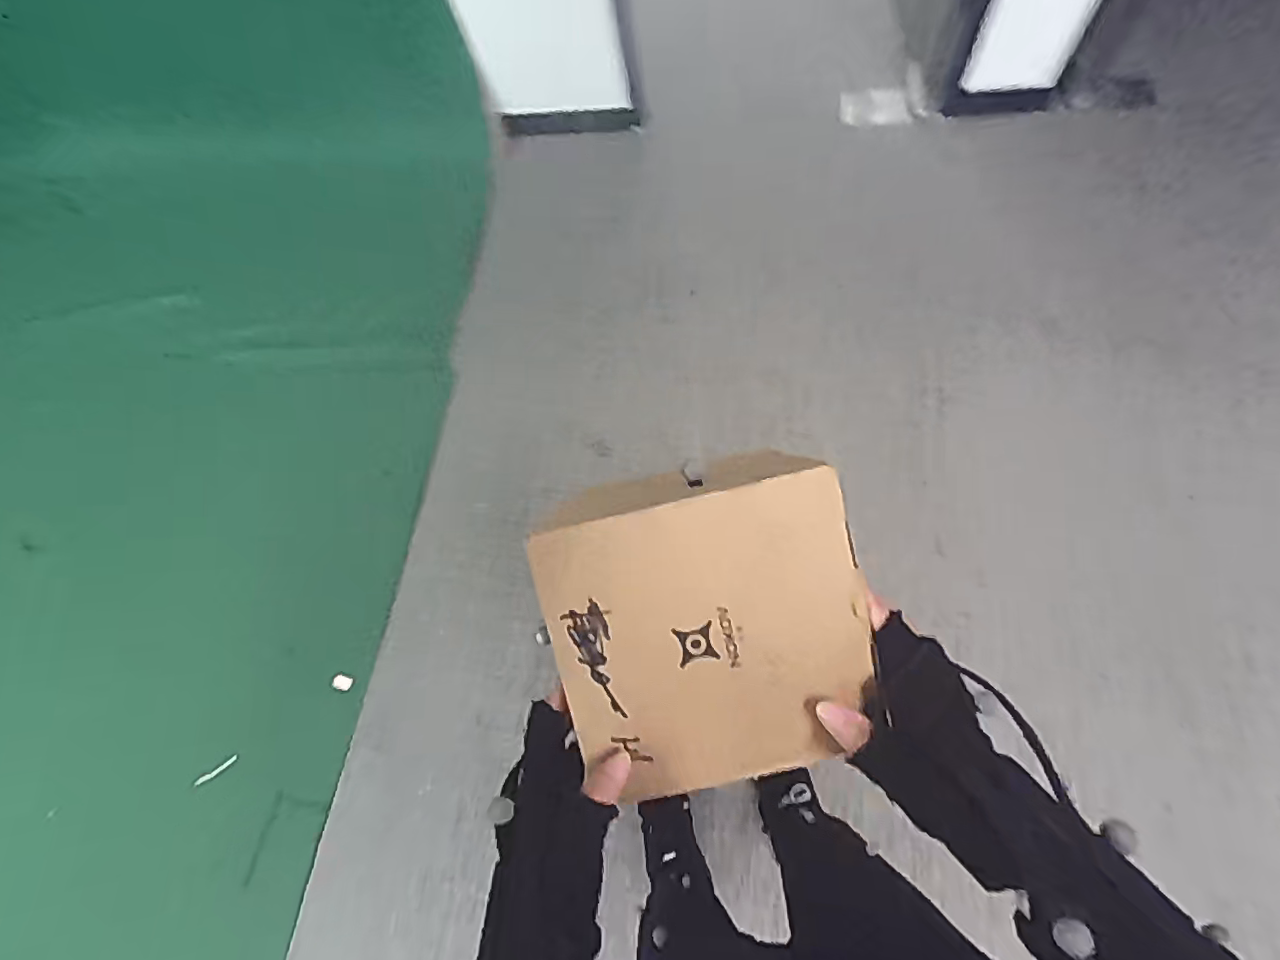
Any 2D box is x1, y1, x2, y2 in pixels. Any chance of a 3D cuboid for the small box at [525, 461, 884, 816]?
[{"bbox_3d":[0.037,0.087,0.384,0.179,0.176,0.168,-15,95,1],"label":"small box"}]
